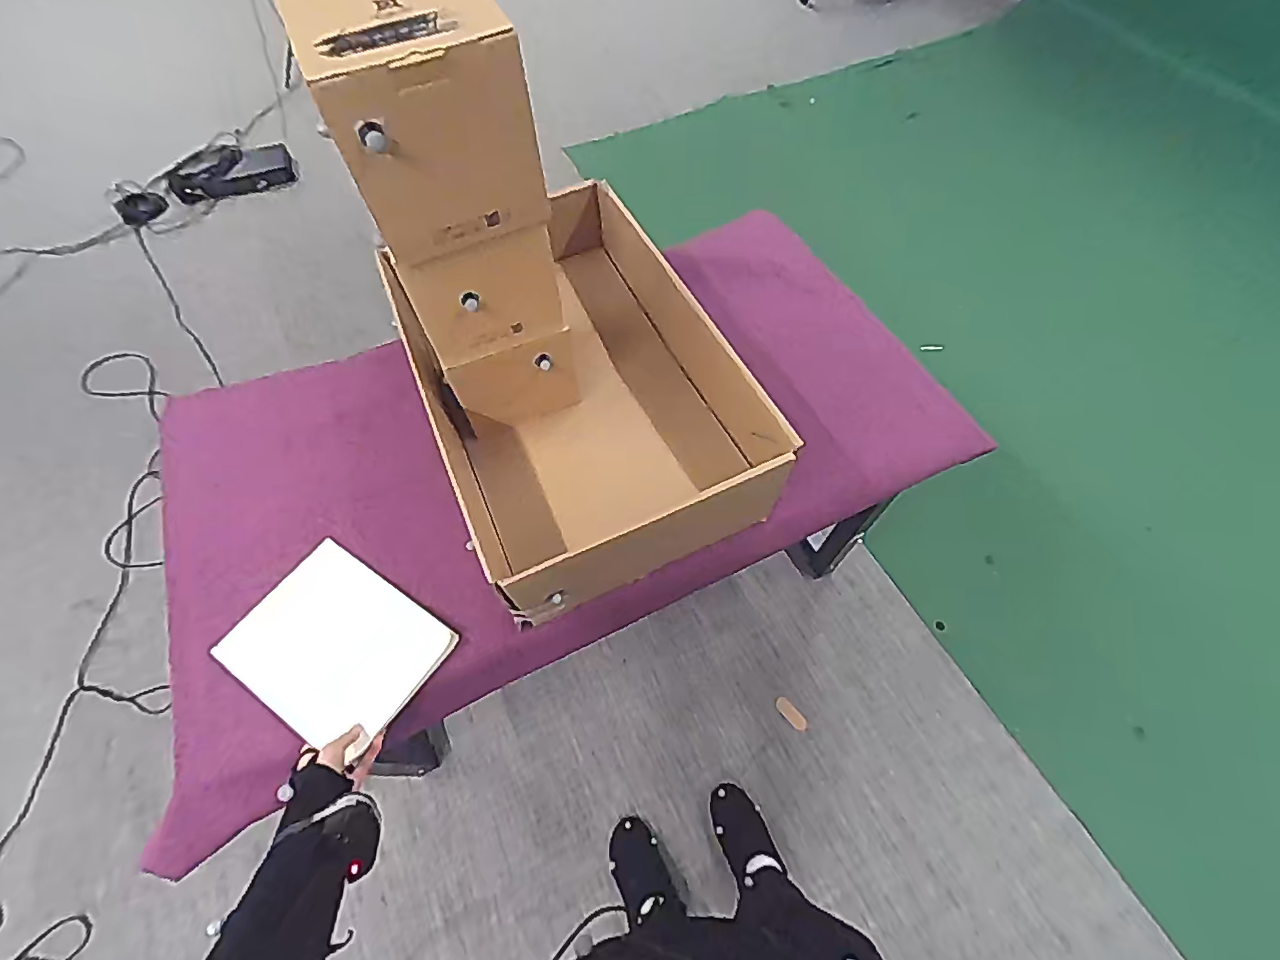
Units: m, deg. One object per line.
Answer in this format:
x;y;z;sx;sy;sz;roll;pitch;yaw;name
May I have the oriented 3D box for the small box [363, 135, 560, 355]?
-0.209;-0.279;0.670;0.168;0.176;0.179;-22;64;-10;small box
